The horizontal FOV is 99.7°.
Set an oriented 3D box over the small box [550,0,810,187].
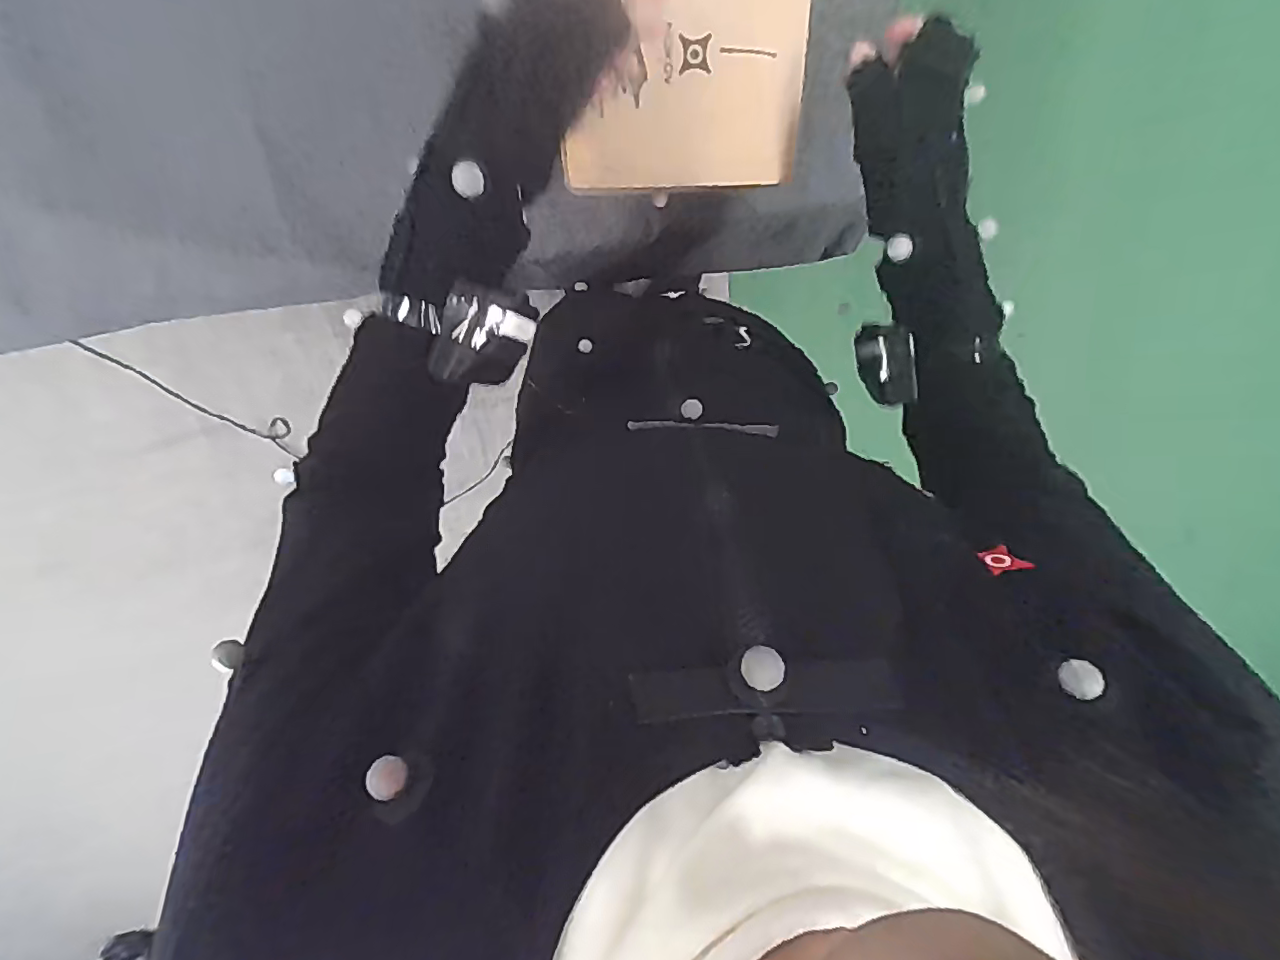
[{"bbox_3d":[0.023,-0.335,0.438,0.179,0.176,0.168,-3,117,-3],"label":"small box"}]
